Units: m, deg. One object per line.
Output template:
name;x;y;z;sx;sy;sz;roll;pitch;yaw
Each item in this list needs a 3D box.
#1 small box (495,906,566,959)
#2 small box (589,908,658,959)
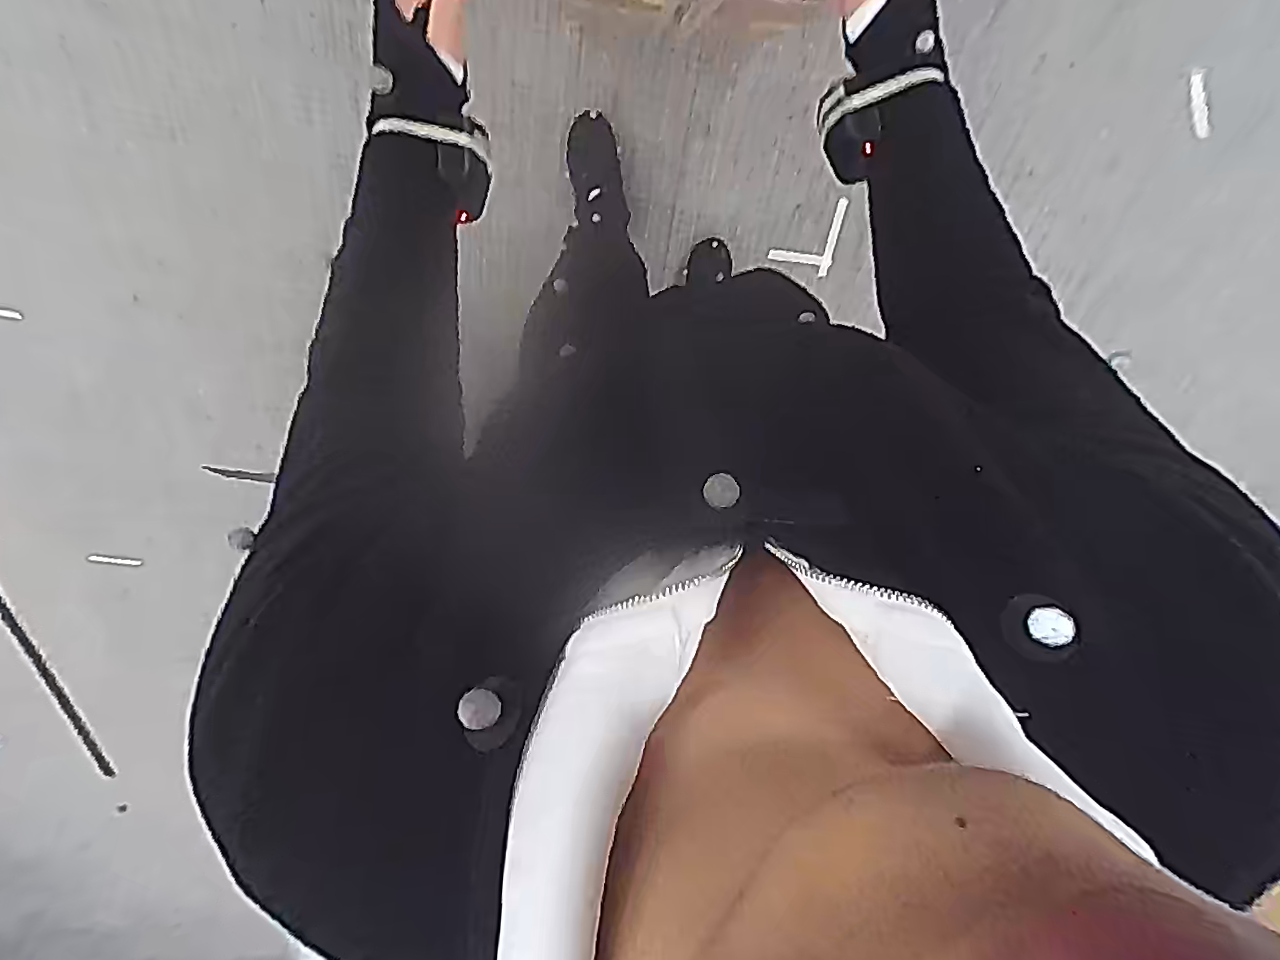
small box;-0.308;1.320;1.503;0.168;0.176;0.179;17;121;-11
small box;-0.046;1.338;1.524;0.179;0.176;0.168;8;122;-7
